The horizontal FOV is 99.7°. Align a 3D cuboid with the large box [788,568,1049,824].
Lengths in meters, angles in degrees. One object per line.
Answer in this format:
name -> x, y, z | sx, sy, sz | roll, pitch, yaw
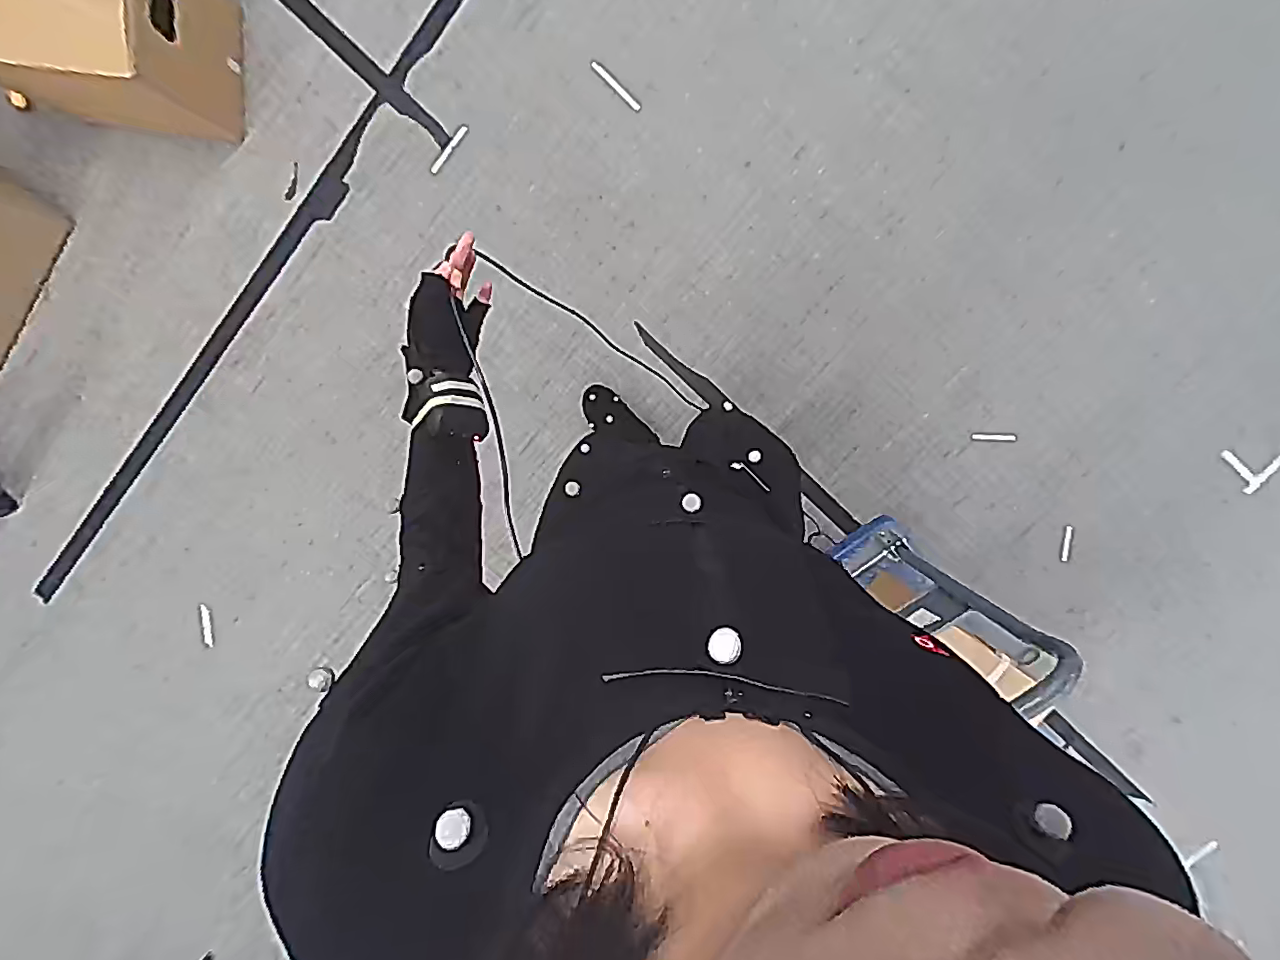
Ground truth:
large box -> 0.627, 0.490, 1.292 | 0.320, 0.320, 0.408 | 34, 100, -6
